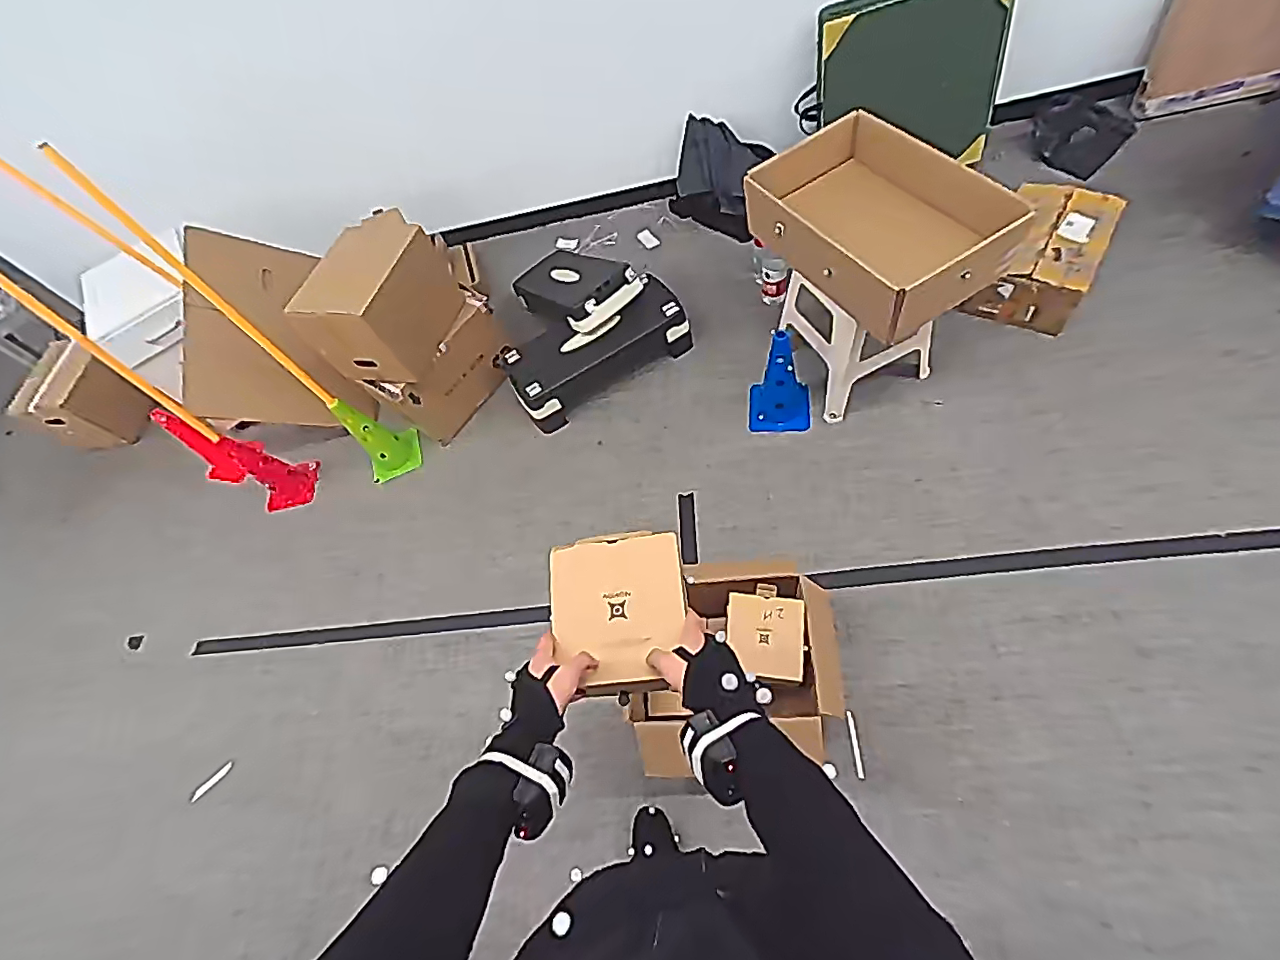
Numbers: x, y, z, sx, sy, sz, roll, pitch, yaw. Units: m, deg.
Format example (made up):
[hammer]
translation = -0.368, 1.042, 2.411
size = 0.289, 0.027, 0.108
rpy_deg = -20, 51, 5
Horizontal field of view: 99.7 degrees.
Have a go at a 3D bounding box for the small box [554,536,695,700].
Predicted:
[small box]
translation = -0.017, 0.193, 0.736
size = 0.168, 0.176, 0.179
rpy_deg = -7, 63, 4
